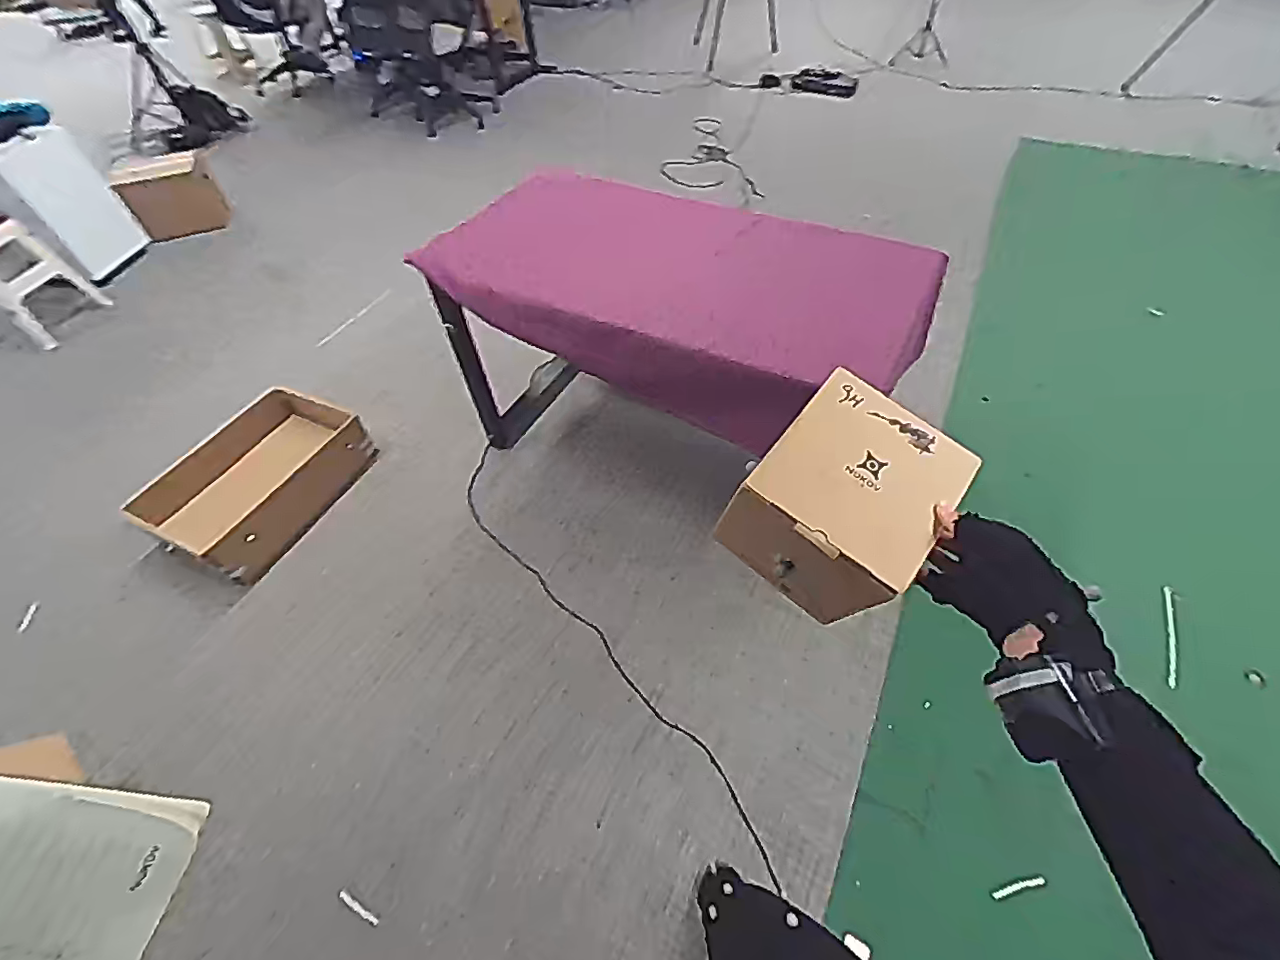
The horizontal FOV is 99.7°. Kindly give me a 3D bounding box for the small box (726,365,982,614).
[{"bbox_3d":[0.209,0.021,0.581,0.168,0.176,0.179,39,71,13],"label":"small box"}]
